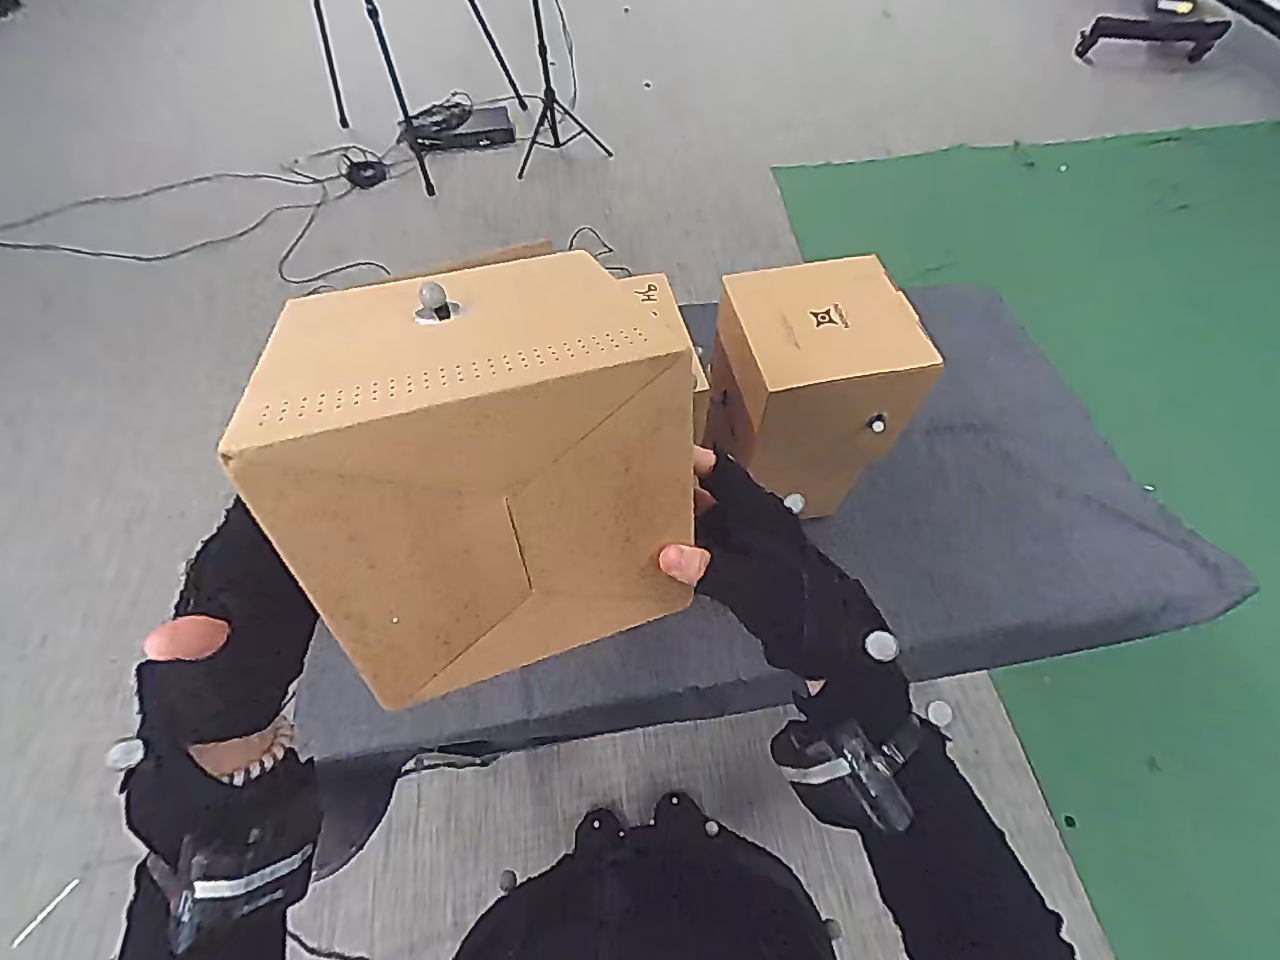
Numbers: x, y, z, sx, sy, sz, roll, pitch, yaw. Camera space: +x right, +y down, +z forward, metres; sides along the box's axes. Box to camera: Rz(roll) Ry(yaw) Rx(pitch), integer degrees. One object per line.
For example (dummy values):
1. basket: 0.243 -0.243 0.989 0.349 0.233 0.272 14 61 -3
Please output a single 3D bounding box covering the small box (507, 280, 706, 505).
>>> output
1. small box: -0.035 -0.090 0.607 0.179 0.176 0.168 -13 61 -5
